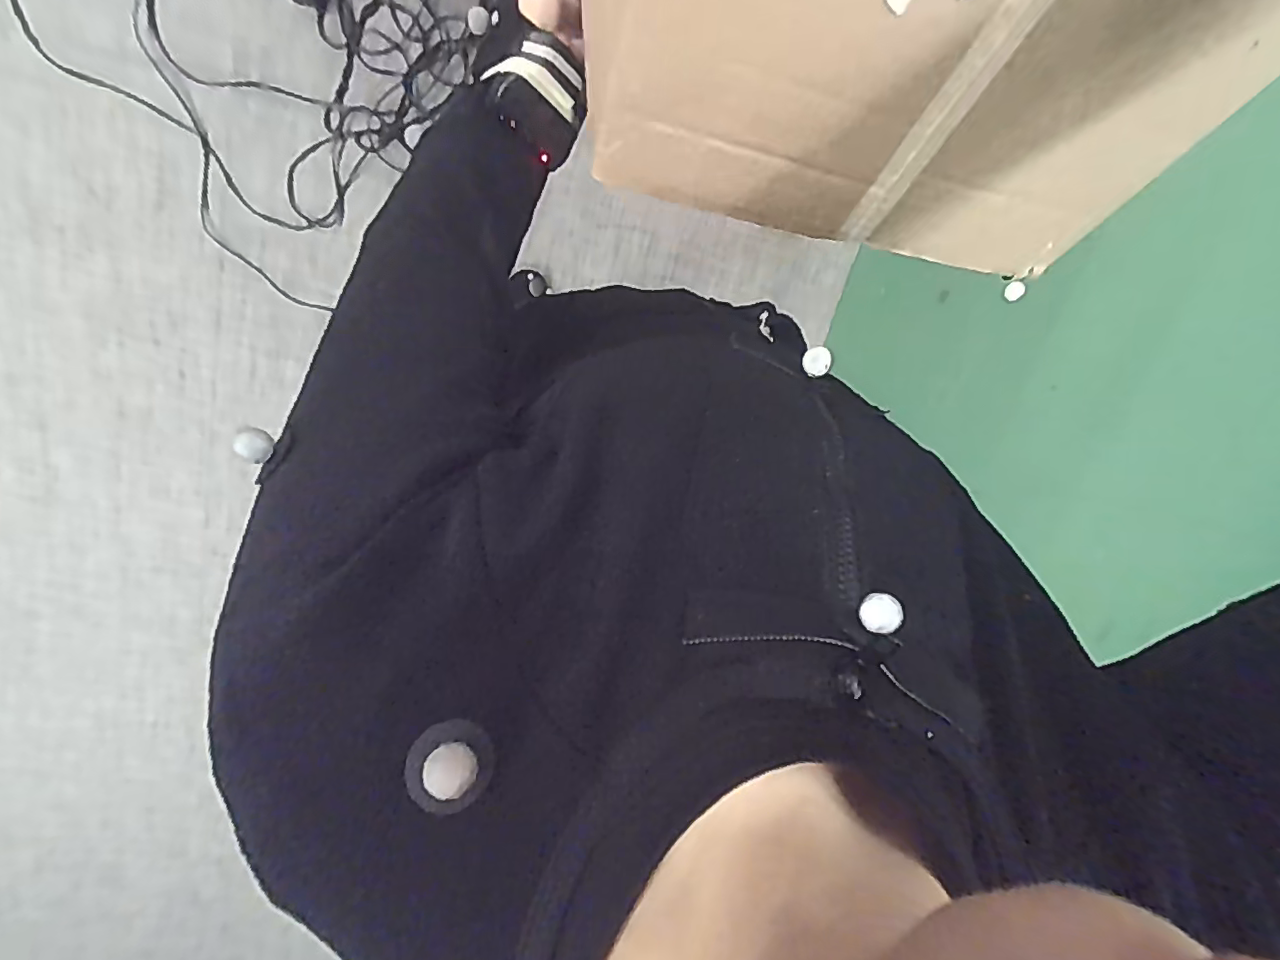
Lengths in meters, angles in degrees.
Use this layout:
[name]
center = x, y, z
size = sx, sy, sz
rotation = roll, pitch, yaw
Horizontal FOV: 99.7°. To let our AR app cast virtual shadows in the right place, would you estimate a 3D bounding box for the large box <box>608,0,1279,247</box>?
[large box]
center = 0.175, -0.388, 0.234
size = 0.320, 0.408, 0.320
rotation = 3, 64, -16
